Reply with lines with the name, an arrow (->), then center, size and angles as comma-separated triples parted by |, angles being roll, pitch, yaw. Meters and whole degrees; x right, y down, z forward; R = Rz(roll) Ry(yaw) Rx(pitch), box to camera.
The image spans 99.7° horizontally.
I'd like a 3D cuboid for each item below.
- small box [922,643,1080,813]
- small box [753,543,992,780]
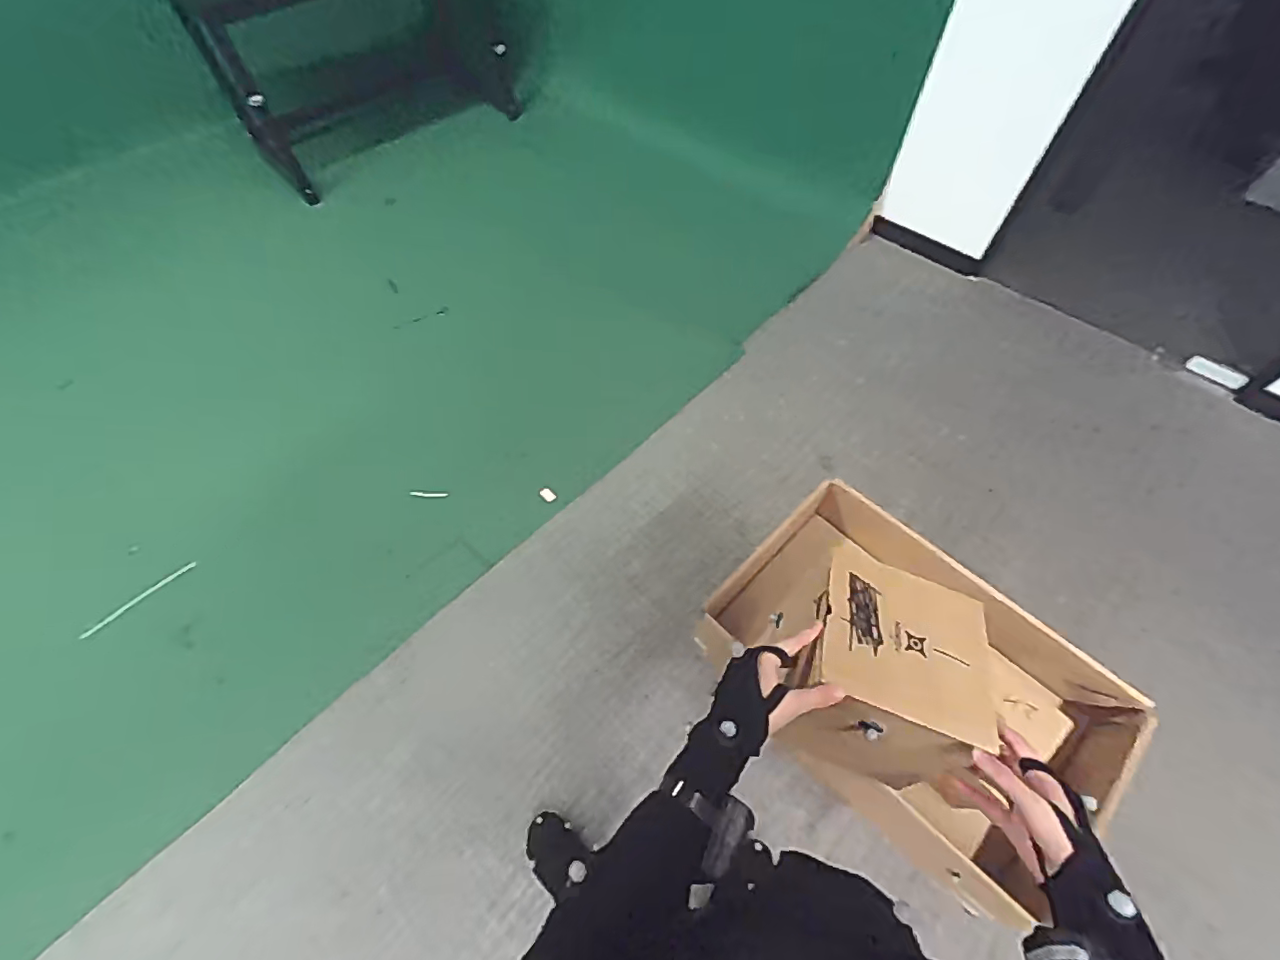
small box -> 0.528, 0.398, 0.861 | 0.179, 0.176, 0.168 | -35, 64, -18
small box -> 0.242, 0.205, 0.596 | 0.179, 0.176, 0.168 | 22, 50, 3
